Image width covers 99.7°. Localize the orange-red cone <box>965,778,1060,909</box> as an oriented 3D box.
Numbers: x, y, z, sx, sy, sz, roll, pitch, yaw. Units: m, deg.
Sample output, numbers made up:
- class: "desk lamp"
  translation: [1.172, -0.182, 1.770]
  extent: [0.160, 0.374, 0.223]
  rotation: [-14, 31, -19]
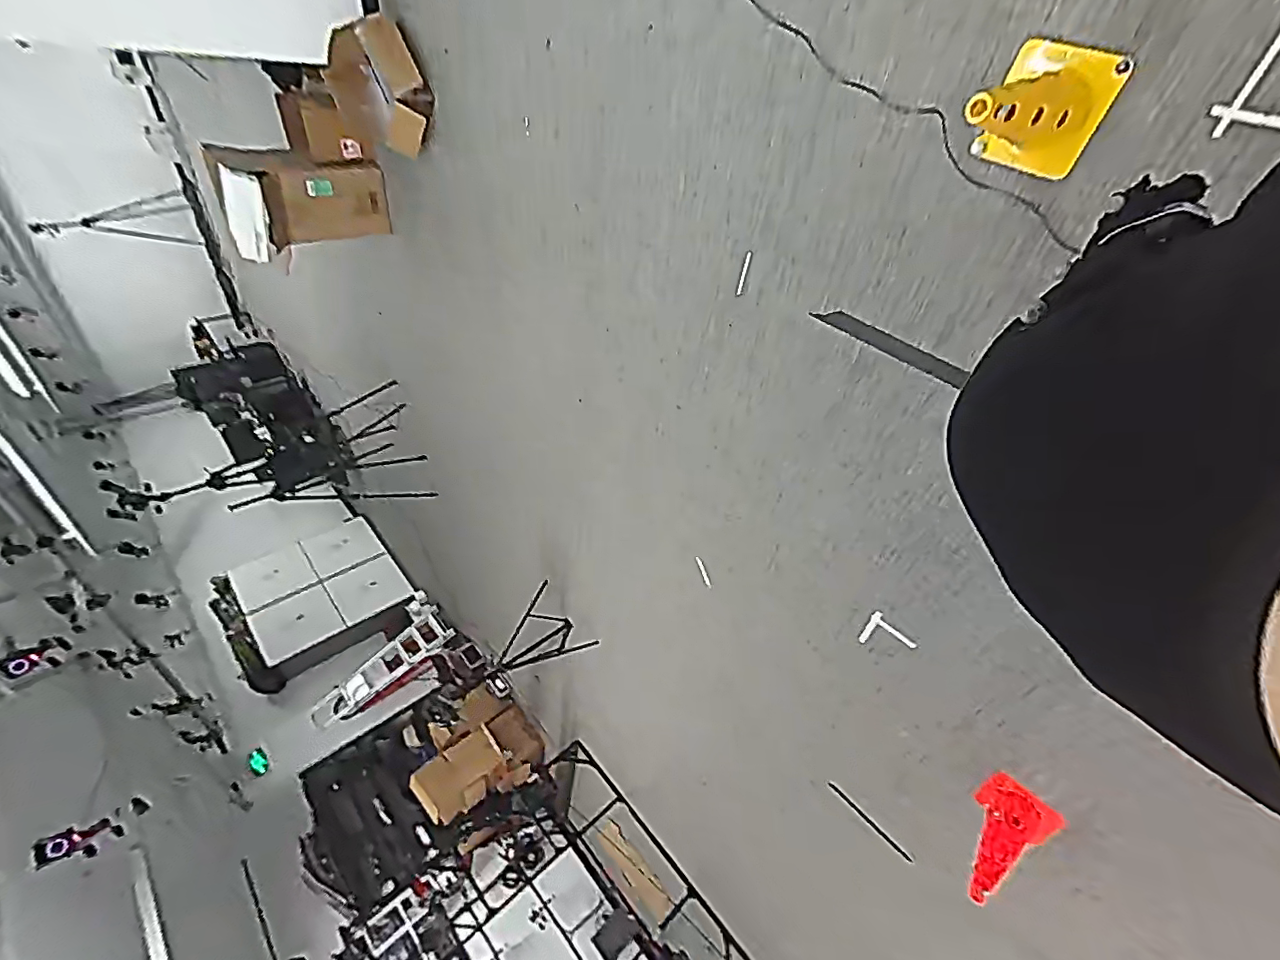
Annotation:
- class: "orange-red cone"
  translation: [1.061, 1.122, 1.617]
  extent: [0.199, 0.360, 0.198]
  rotation: [35, 137, 32]
